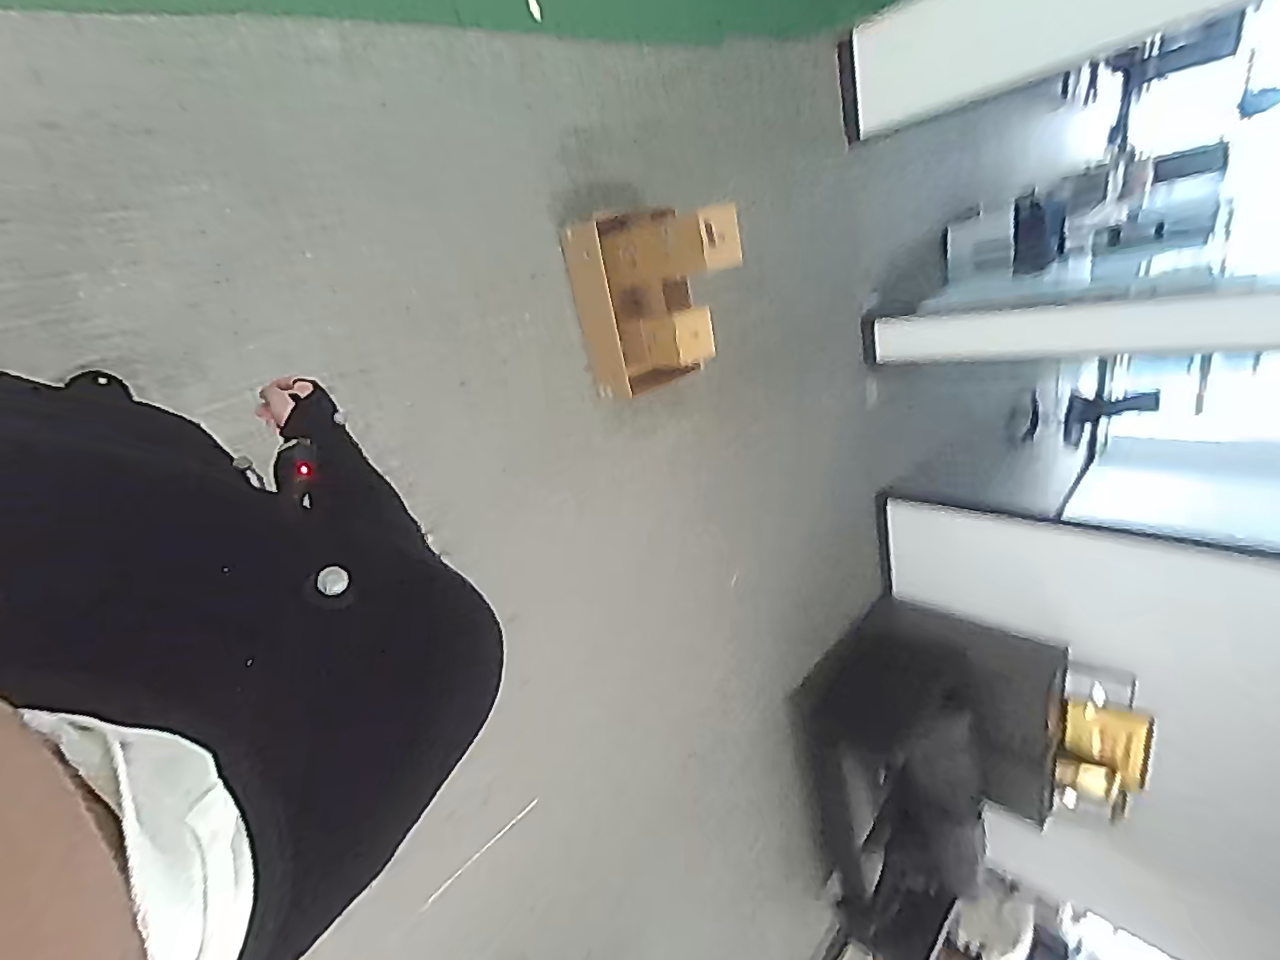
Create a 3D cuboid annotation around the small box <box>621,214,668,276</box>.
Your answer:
[{"bbox_3d":[0.065,-0.769,1.762,0.179,0.176,0.168,-27,116,-36],"label":"small box"}]

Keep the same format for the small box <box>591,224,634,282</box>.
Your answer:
[{"bbox_3d":[-0.042,-0.795,1.881,0.179,0.176,0.168,-27,116,-37],"label":"small box"}]

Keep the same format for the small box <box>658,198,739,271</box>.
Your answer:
[{"bbox_3d":[0.172,-0.742,1.640,0.179,0.176,0.168,-30,118,-36],"label":"small box"}]

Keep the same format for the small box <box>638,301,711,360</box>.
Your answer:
[{"bbox_3d":[0.118,-0.517,1.864,0.179,0.176,0.168,-27,115,-35],"label":"small box"}]
